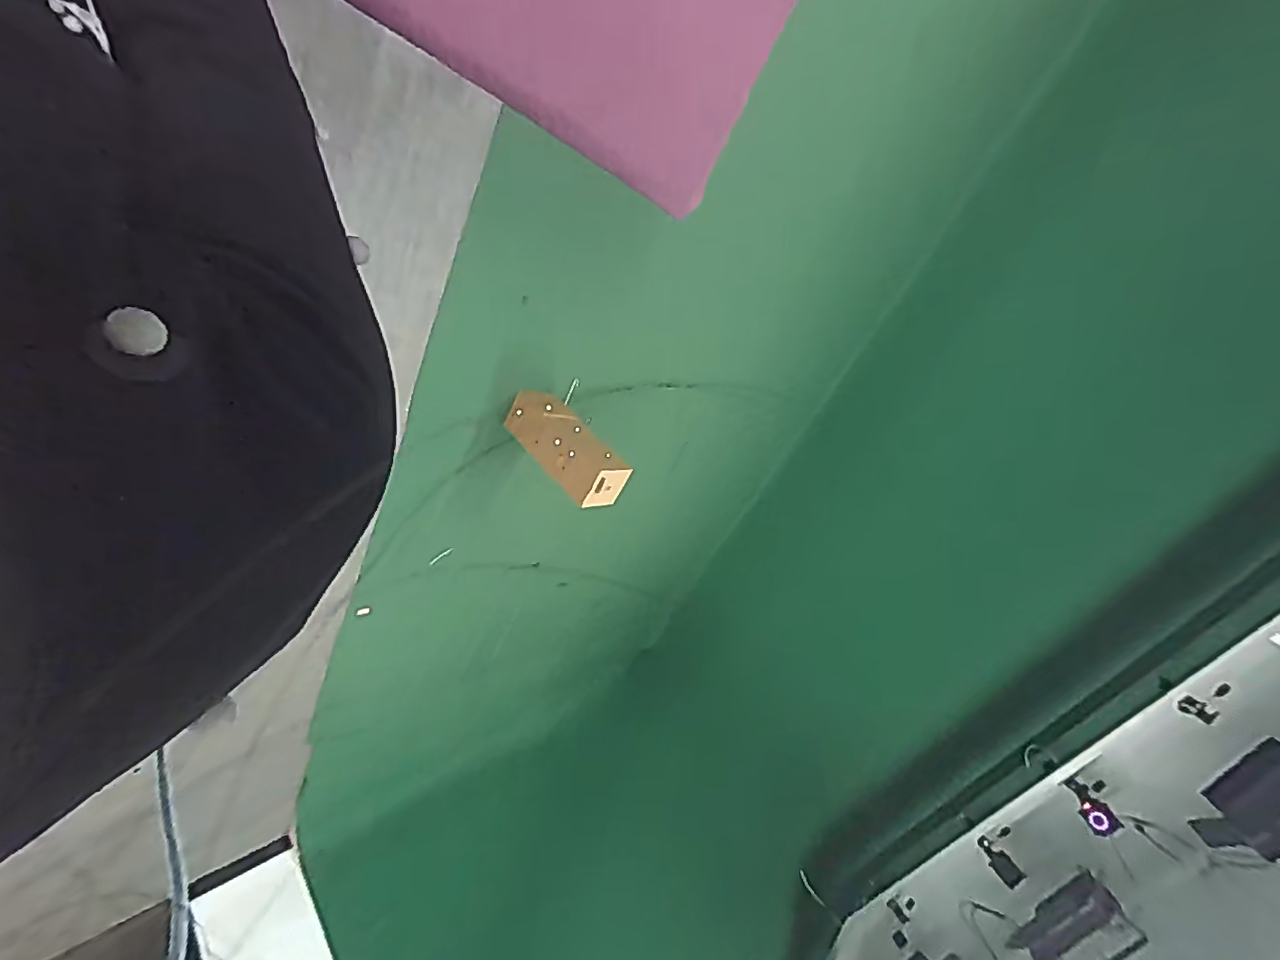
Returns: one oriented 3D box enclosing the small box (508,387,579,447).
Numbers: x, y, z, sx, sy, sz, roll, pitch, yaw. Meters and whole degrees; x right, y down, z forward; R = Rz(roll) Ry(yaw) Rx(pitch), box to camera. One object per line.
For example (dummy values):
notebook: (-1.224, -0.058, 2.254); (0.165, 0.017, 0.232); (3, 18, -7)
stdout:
small box: (-0.373, -0.243, 2.080); (0.179, 0.176, 0.168); (-1, 130, -51)

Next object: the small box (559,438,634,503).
small box: (-0.160, -0.037, 1.936); (0.179, 0.176, 0.168); (-4, 132, -52)
